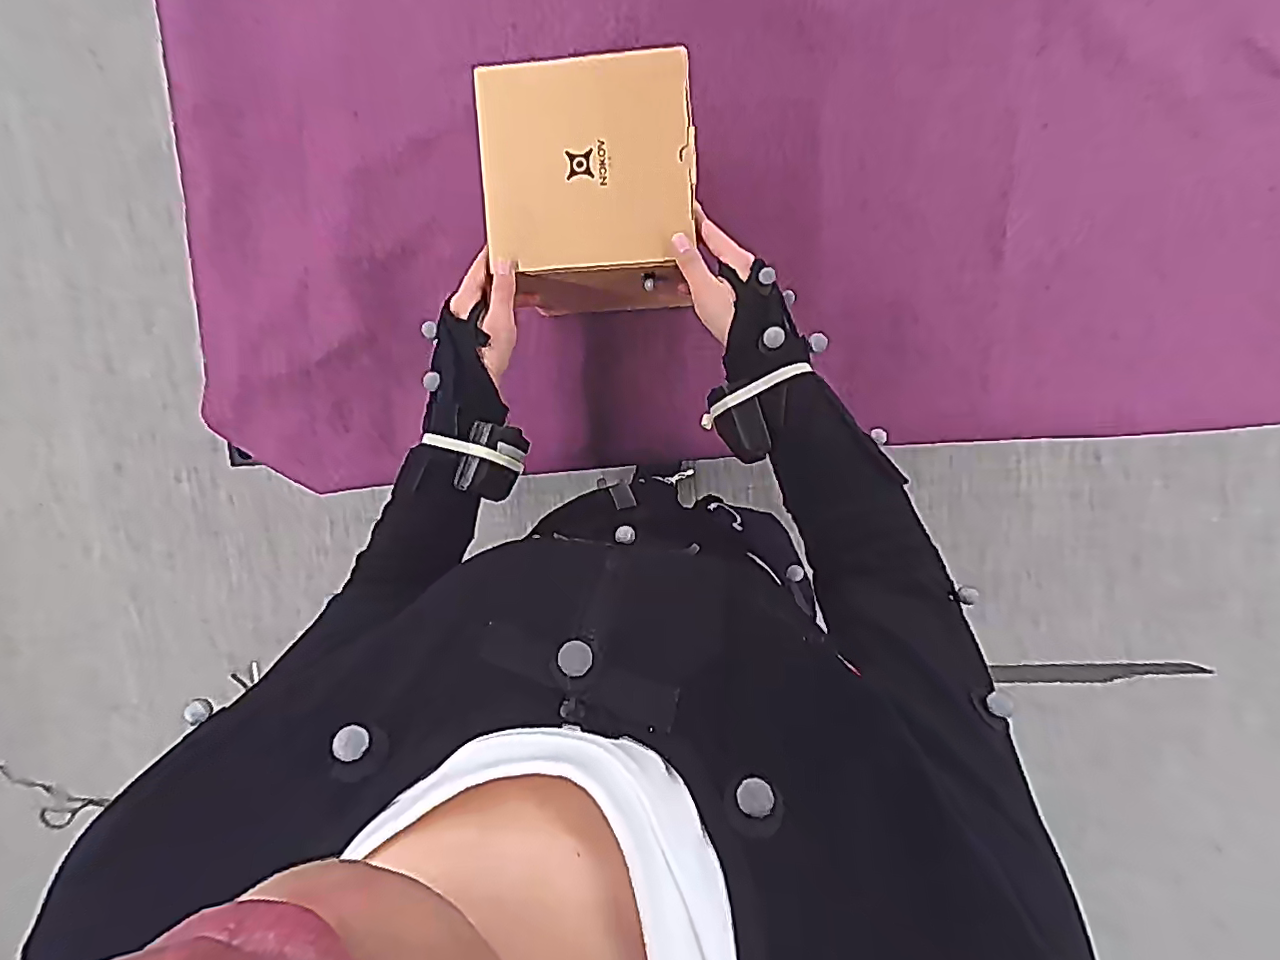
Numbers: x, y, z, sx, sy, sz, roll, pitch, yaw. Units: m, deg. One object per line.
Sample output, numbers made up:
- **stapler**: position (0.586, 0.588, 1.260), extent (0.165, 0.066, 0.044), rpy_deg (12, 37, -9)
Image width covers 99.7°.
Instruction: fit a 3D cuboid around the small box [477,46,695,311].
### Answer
- **small box**: position (-0.039, -0.266, 0.521), extent (0.179, 0.176, 0.168), rpy_deg (-3, 95, 3)
